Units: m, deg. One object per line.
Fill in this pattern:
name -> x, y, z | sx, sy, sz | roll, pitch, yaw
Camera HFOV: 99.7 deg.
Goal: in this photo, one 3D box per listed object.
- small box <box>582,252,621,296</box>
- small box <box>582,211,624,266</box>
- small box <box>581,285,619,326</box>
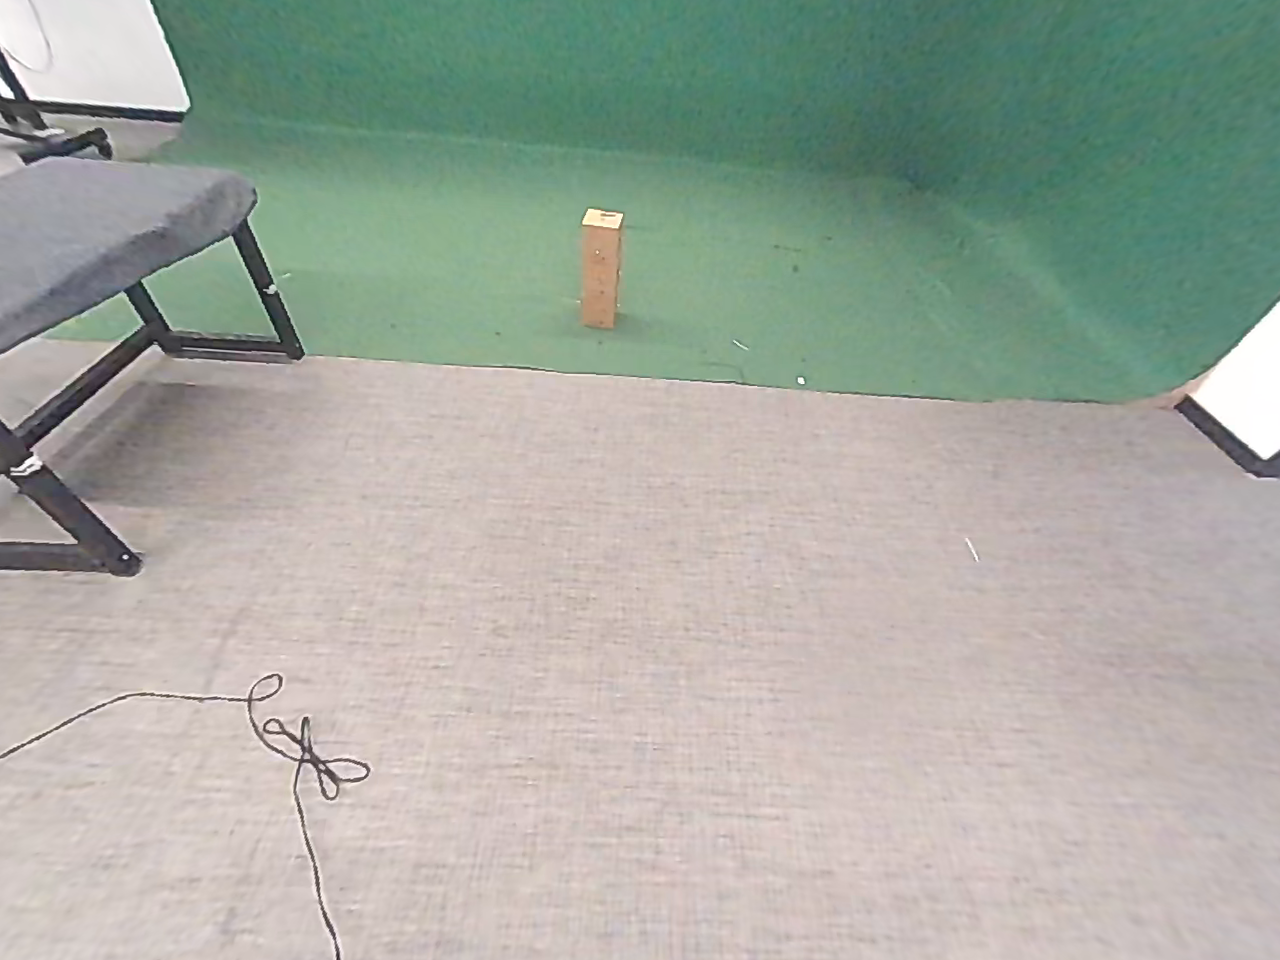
small box -> -0.186, -1.005, 2.621 | 0.168, 0.176, 0.179 | 8, 47, 0
small box -> -0.173, -1.119, 2.503 | 0.168, 0.176, 0.179 | 8, 47, 1
small box -> -0.201, -0.898, 2.718 | 0.168, 0.176, 0.179 | 10, 45, 0
